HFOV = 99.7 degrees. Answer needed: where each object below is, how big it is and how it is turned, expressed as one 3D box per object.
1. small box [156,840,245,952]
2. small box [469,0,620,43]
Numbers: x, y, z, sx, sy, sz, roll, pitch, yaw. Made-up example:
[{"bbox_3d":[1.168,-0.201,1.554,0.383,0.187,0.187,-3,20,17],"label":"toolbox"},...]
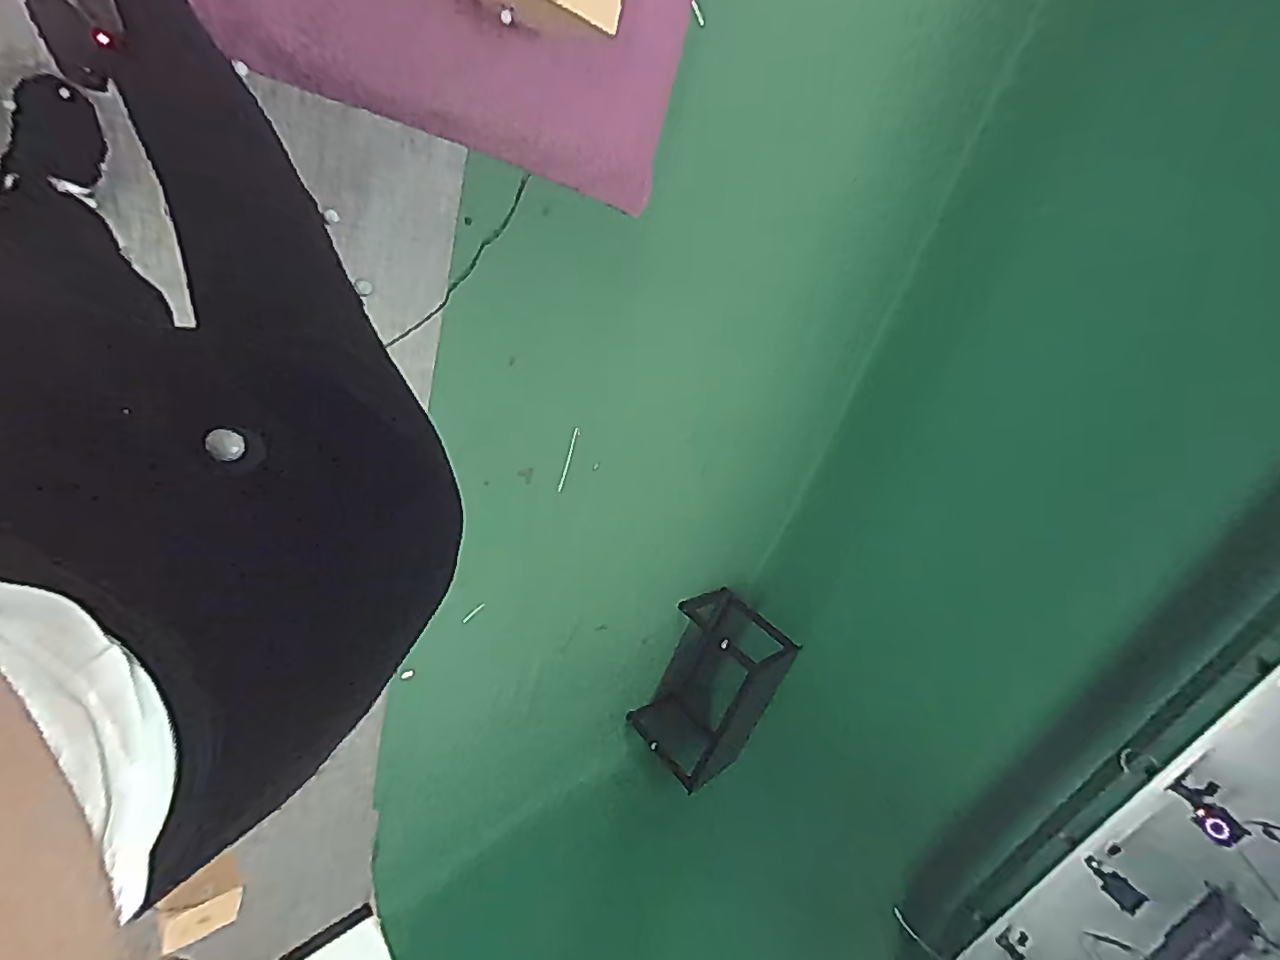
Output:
[{"bbox_3d":[-1.320,1.234,1.621,0.179,0.176,0.168,1,119,-48],"label":"small box"},{"bbox_3d":[-0.129,-0.664,0.651,0.179,0.176,0.168,-10,127,-44],"label":"small box"}]
